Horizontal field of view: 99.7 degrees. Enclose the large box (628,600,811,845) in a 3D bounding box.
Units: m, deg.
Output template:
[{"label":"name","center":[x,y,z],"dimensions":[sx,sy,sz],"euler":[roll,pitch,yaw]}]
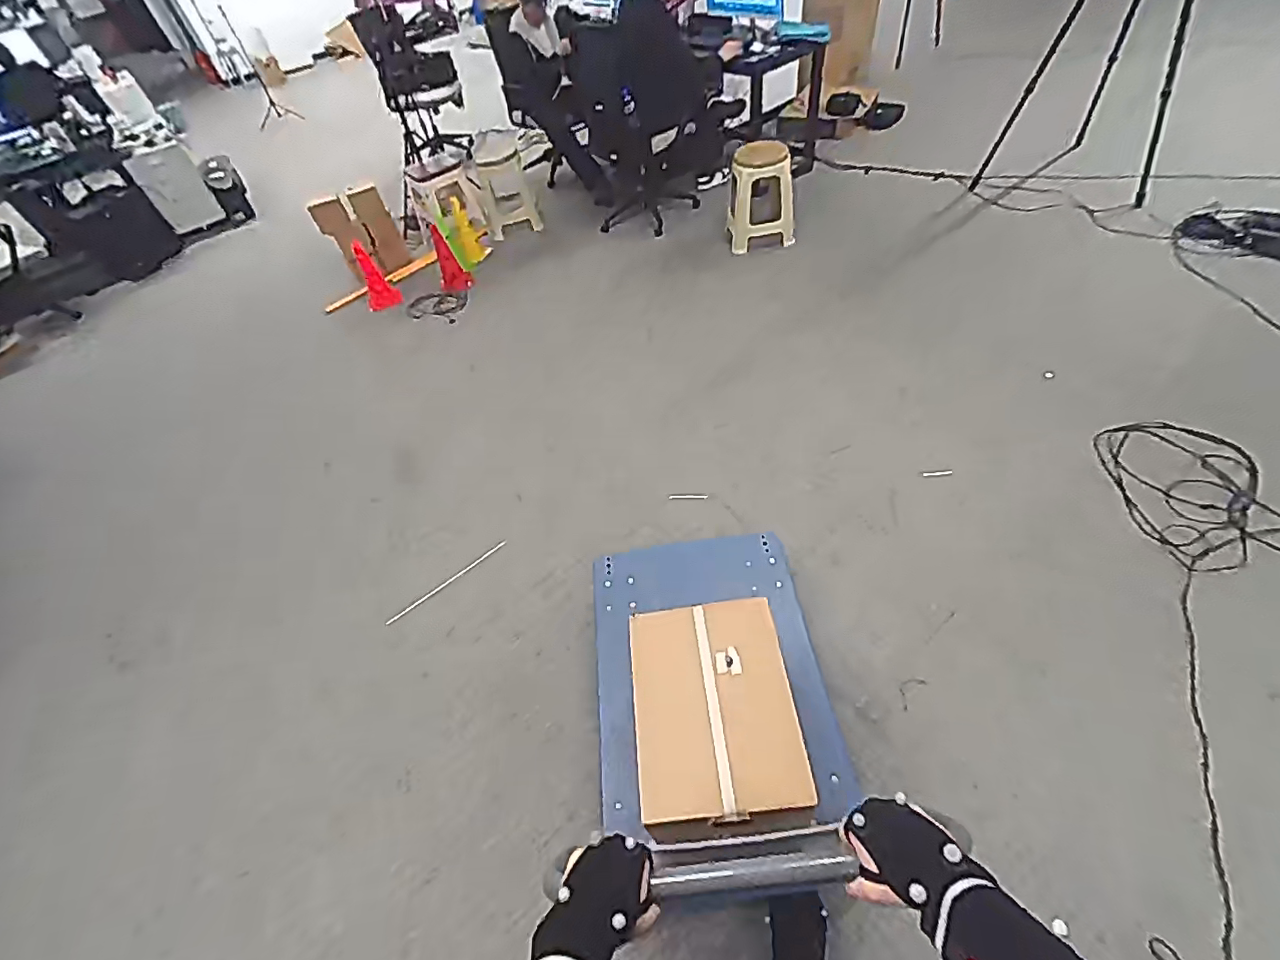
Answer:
[{"label":"large box","center":[0.163,0.538,1.204],"dimensions":[0.320,0.320,0.408],"euler":[-8,48,3]}]
